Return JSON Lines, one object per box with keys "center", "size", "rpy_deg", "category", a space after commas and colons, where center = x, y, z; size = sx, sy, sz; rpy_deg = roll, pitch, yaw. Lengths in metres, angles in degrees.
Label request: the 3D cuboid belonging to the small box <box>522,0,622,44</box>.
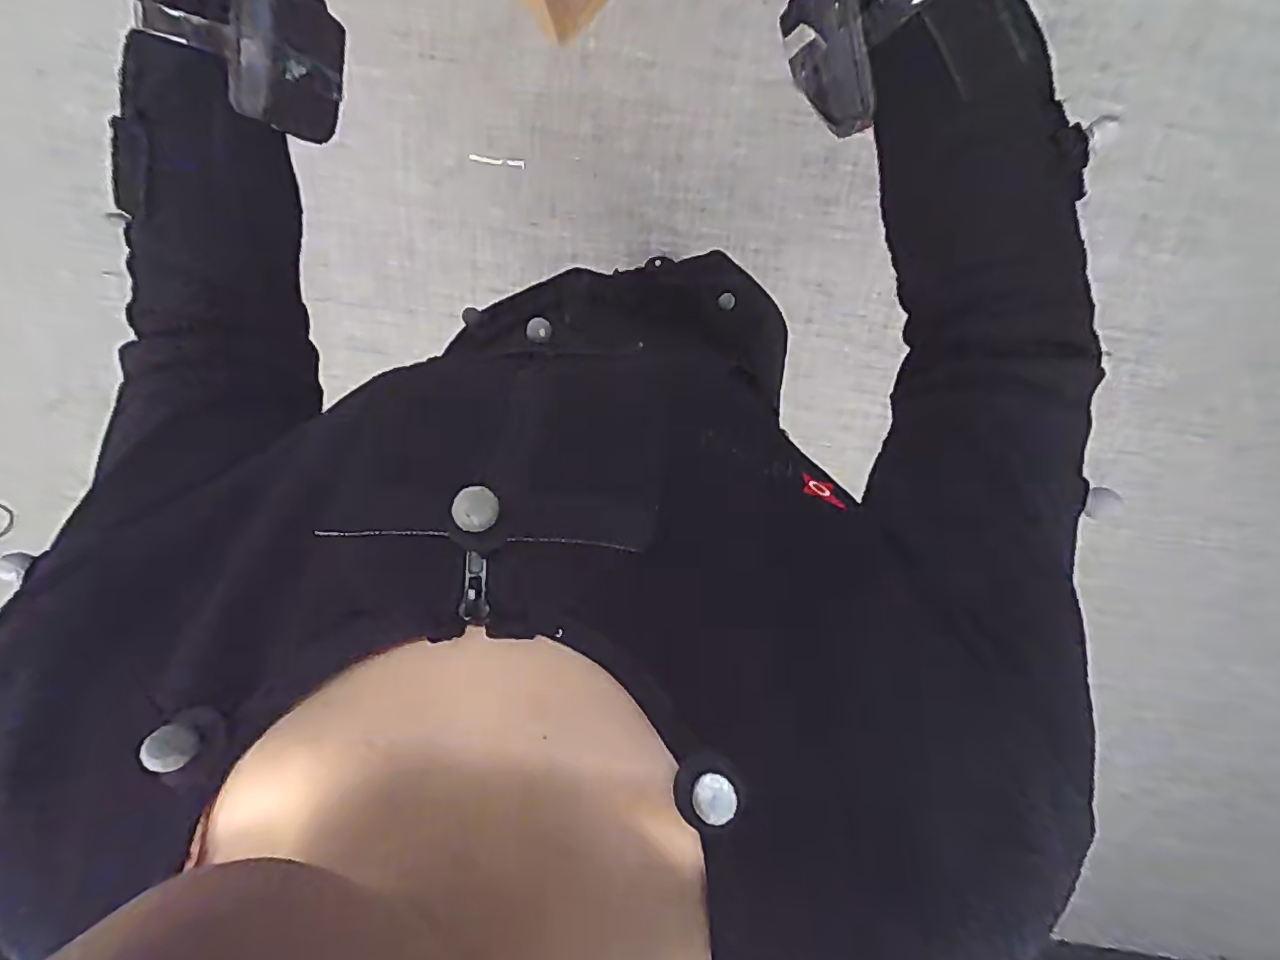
{"center": [-0.037, -0.337, 0.217], "size": [0.179, 0.176, 0.168], "rpy_deg": [-40, 105, 15], "category": "small box"}
